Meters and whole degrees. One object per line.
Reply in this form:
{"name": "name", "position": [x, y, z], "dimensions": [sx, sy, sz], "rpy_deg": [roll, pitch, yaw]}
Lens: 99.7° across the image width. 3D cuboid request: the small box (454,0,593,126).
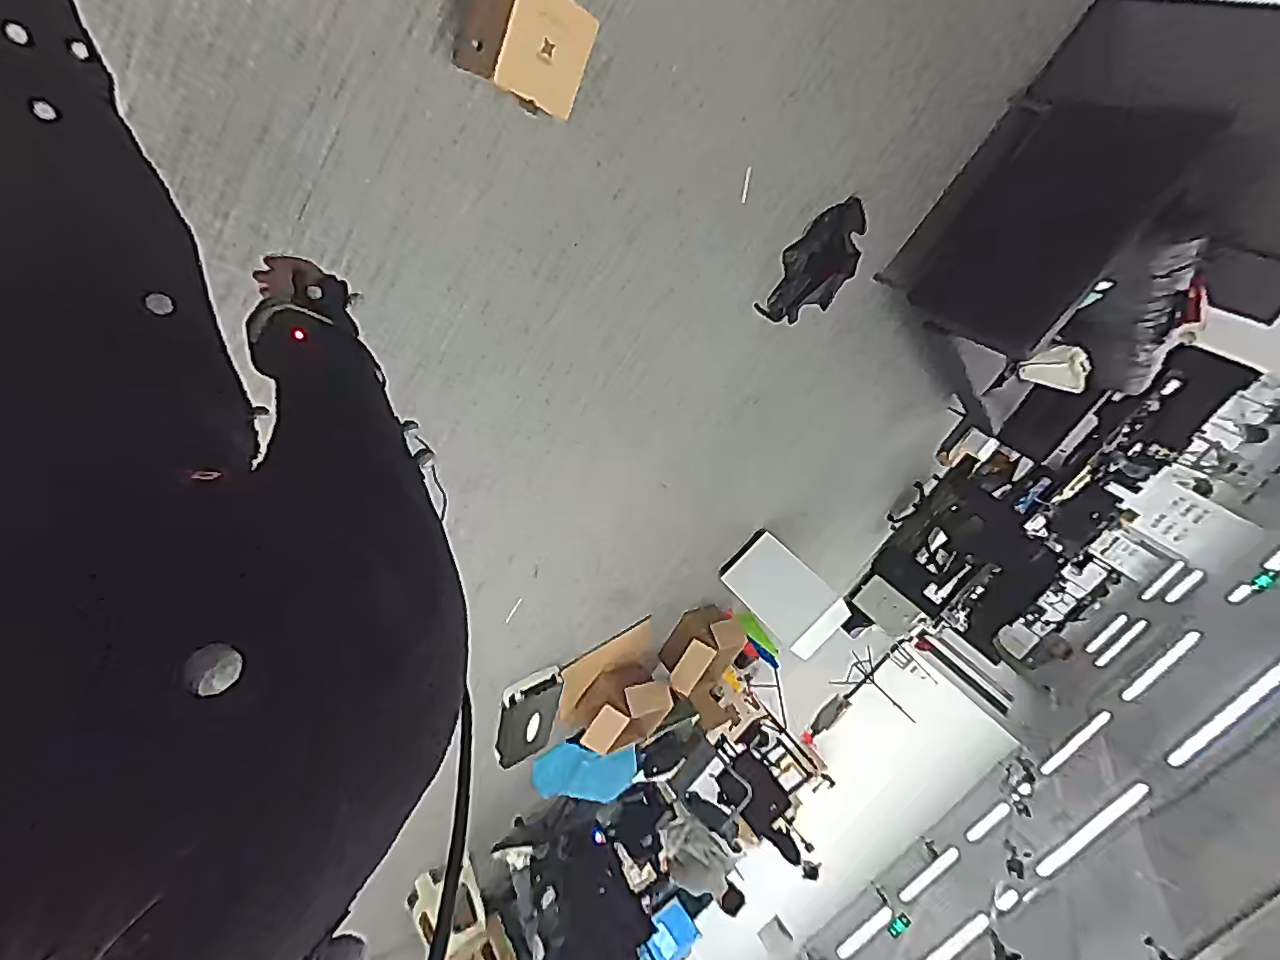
{"name": "small box", "position": [-0.222, -0.801, 0.999], "dimensions": [0.168, 0.176, 0.179], "rpy_deg": [-2, 126, -47]}
